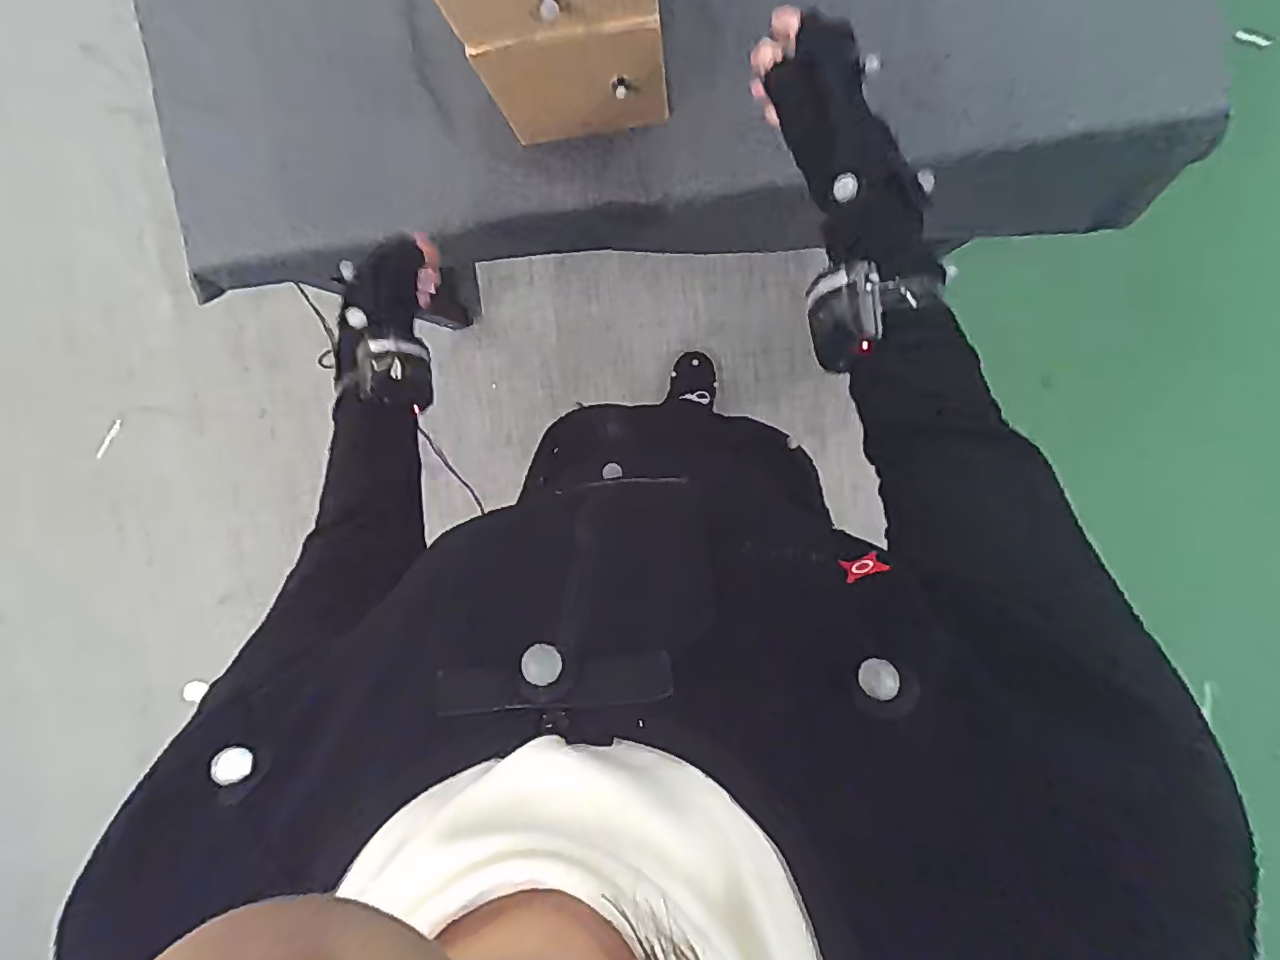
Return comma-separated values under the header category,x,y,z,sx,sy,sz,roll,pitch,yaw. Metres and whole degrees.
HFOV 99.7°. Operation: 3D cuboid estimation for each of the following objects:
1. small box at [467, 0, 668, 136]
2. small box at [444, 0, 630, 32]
category,x,y,z,sx,sy,sz,roll,pitch,yaw
small box,-0.066,-0.481,0.542,0.179,0.176,0.168,-5,97,8
small box,-0.085,-0.467,0.380,0.179,0.176,0.168,-5,97,6
